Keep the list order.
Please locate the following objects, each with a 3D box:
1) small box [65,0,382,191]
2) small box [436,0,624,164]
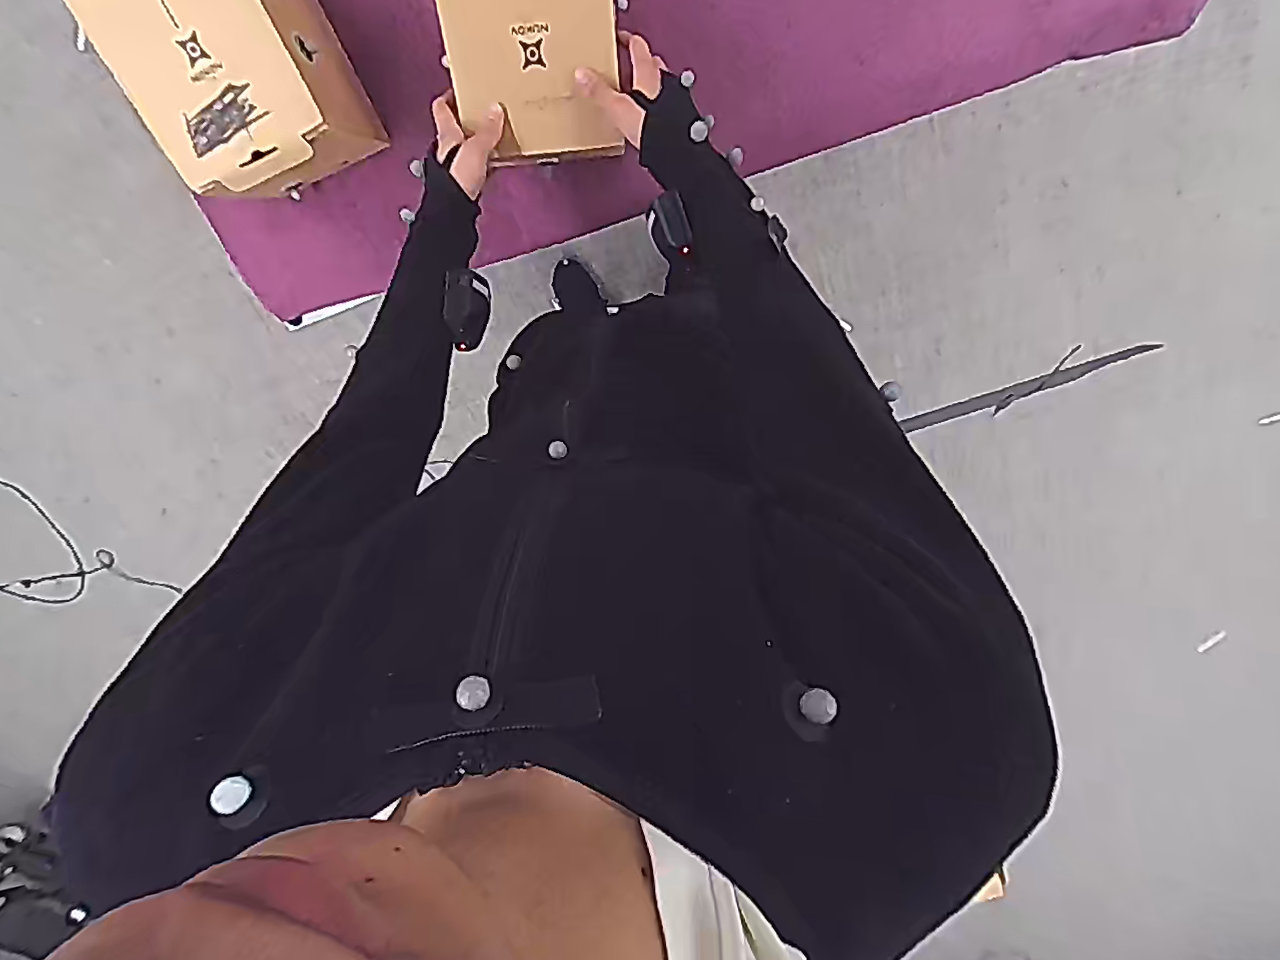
[{"bbox_3d":[-0.416,-0.433,0.580,0.168,0.176,0.179,-20,115,8],"label":"small box"},{"bbox_3d":[-0.108,-0.452,0.585,0.168,0.176,0.179,-5,119,1],"label":"small box"}]
